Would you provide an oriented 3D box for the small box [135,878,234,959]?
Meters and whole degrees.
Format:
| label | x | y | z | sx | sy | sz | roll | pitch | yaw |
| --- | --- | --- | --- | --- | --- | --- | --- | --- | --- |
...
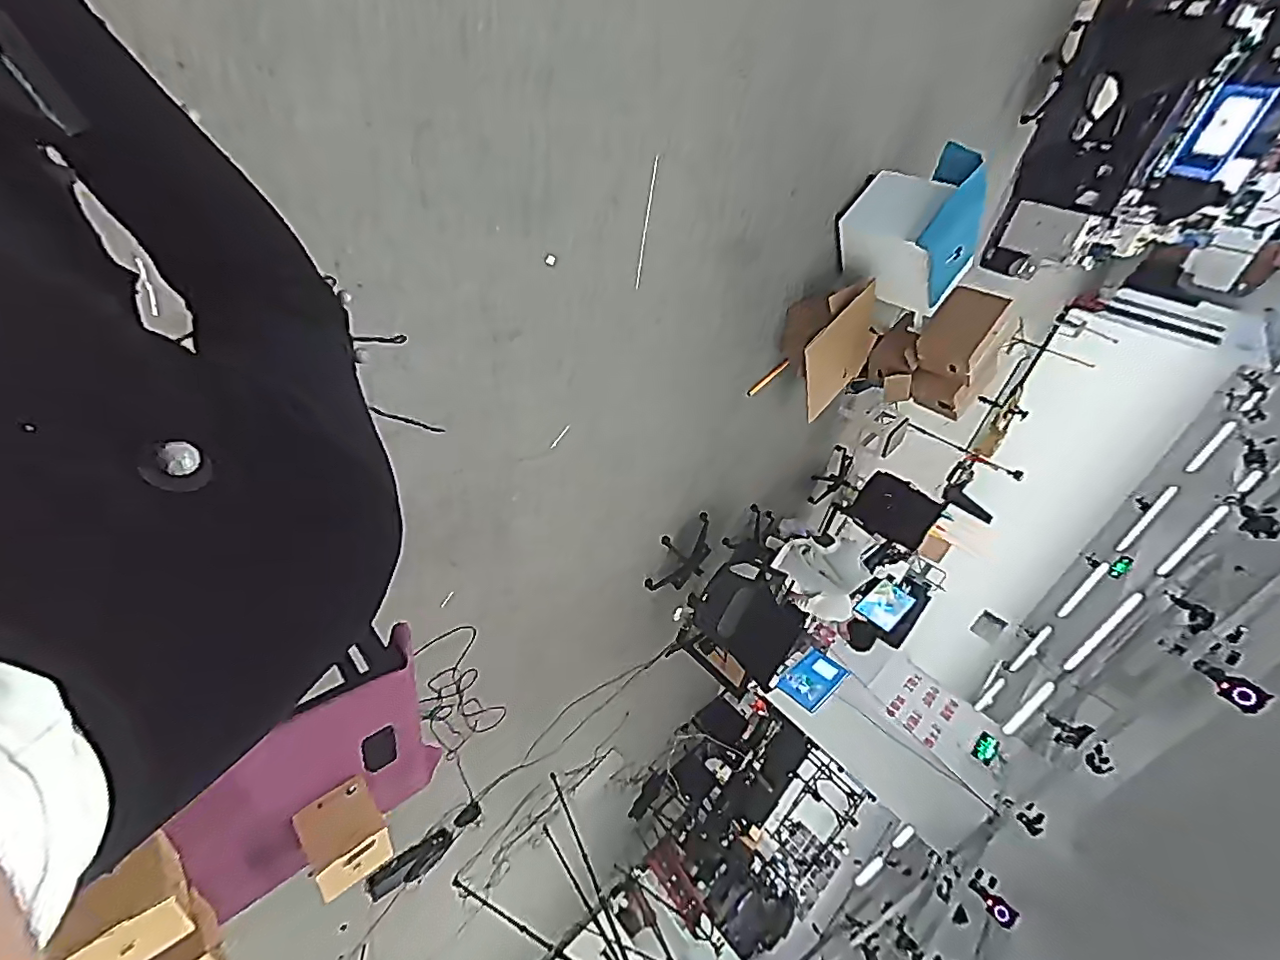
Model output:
| label | x | y | z | sx | sy | sz | roll | pitch | yaw |
| --- | --- | --- | --- | --- | --- | --- | --- | --- | --- |
| small box | -1.020 | 1.024 | 1.180 | 0.168 | 0.176 | 0.179 | -23 | 137 | -38 |

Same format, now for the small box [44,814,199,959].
| label | x | y | z | sx | sy | sz | roll | pitch | yaw |
| --- | --- | --- | --- | --- | --- | --- | --- | --- | --- |
| small box | -0.963 | 0.775 | 1.011 | 0.168 | 0.176 | 0.179 | -21 | 137 | -39 |

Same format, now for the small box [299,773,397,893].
| label | x | y | z | sx | sy | sz | roll | pitch | yaw |
| --- | --- | --- | --- | --- | --- | --- | --- | --- | --- |
| small box | -0.749 | 0.894 | 1.388 | 0.168 | 0.176 | 0.179 | -22 | 137 | -38 |
